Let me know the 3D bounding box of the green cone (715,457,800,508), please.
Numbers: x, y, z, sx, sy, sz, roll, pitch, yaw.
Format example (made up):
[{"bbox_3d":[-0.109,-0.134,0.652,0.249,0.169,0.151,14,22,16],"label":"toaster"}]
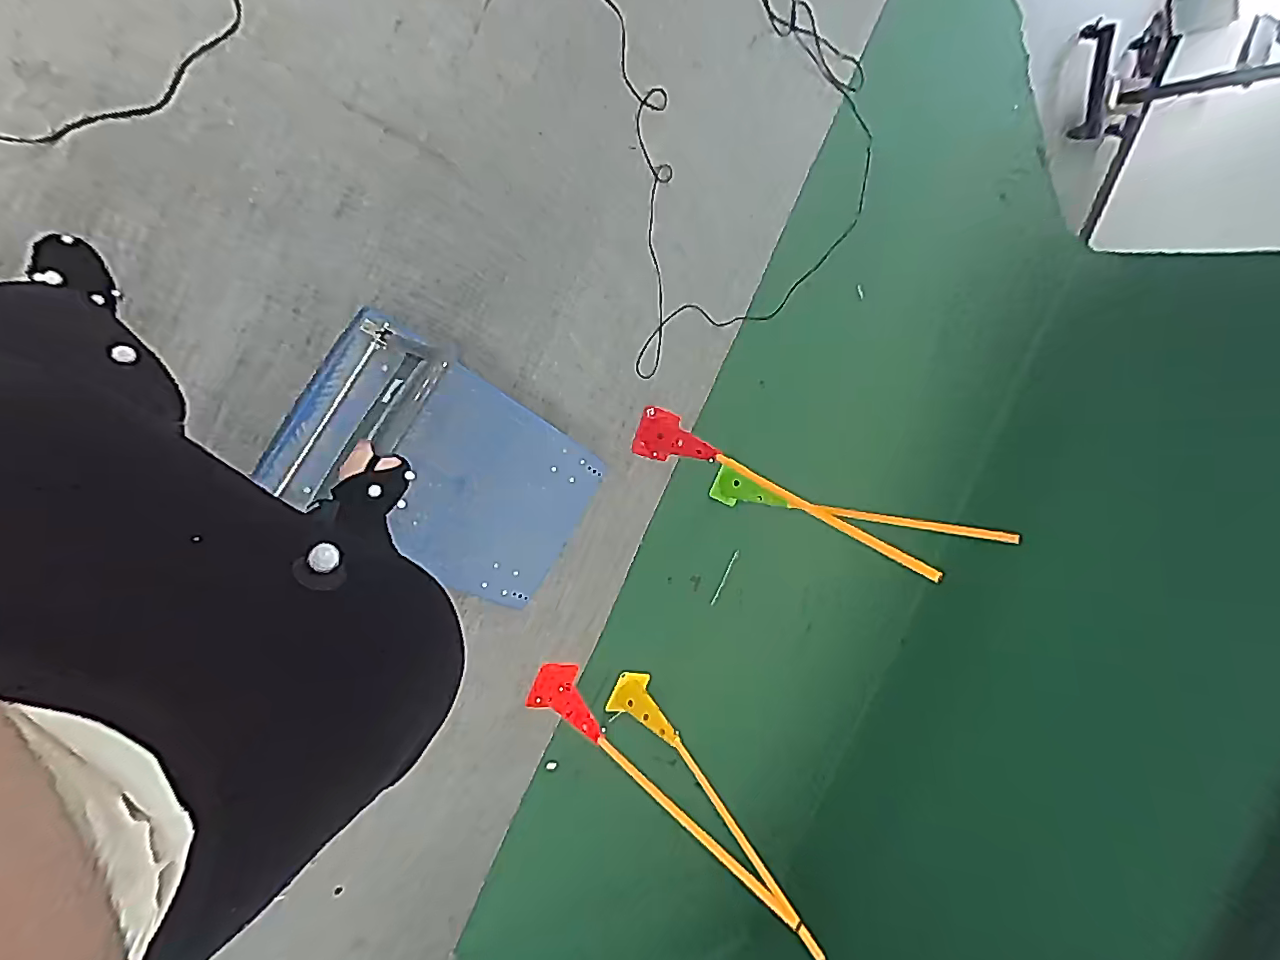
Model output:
[{"bbox_3d":[0.546,0.053,2.402,0.202,0.368,0.200,23,91,-43],"label":"green cone"}]

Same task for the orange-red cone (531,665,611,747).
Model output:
[{"bbox_3d":[-0.229,0.903,2.095,0.199,0.360,0.198,23,92,-44],"label":"orange-red cone"}]
